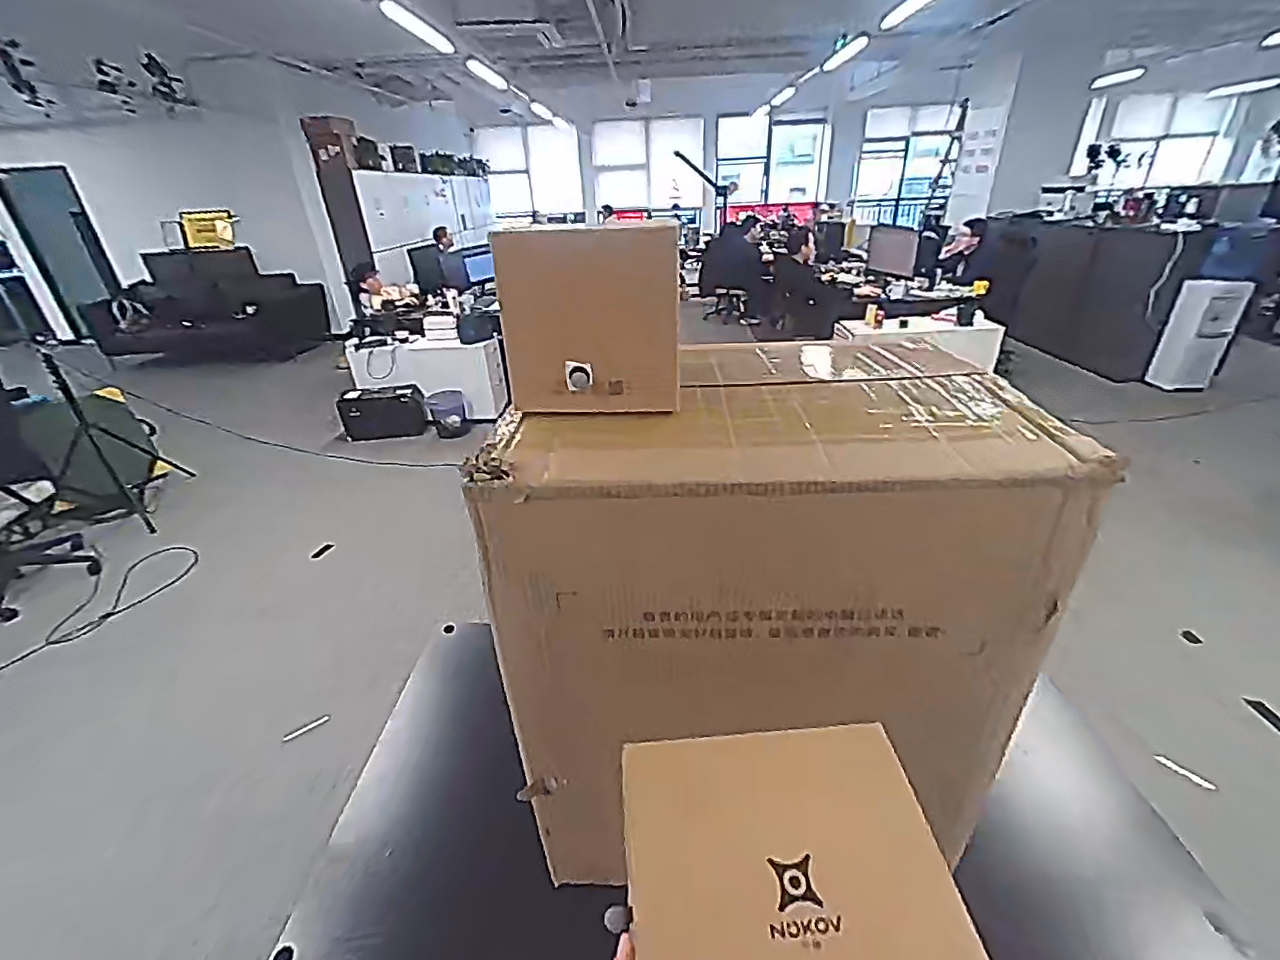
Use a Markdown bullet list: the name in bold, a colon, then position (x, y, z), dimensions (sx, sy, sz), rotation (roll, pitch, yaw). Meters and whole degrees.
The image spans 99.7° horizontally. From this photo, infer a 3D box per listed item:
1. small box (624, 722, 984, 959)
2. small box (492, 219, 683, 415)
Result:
- **small box**: position (0.076, 0.270, 0.317), dimensions (0.168, 0.176, 0.179), rotation (-3, 40, -3)
- **small box**: position (-0.040, -0.175, 0.566), dimensions (0.168, 0.176, 0.179), rotation (-1, 28, 3)
